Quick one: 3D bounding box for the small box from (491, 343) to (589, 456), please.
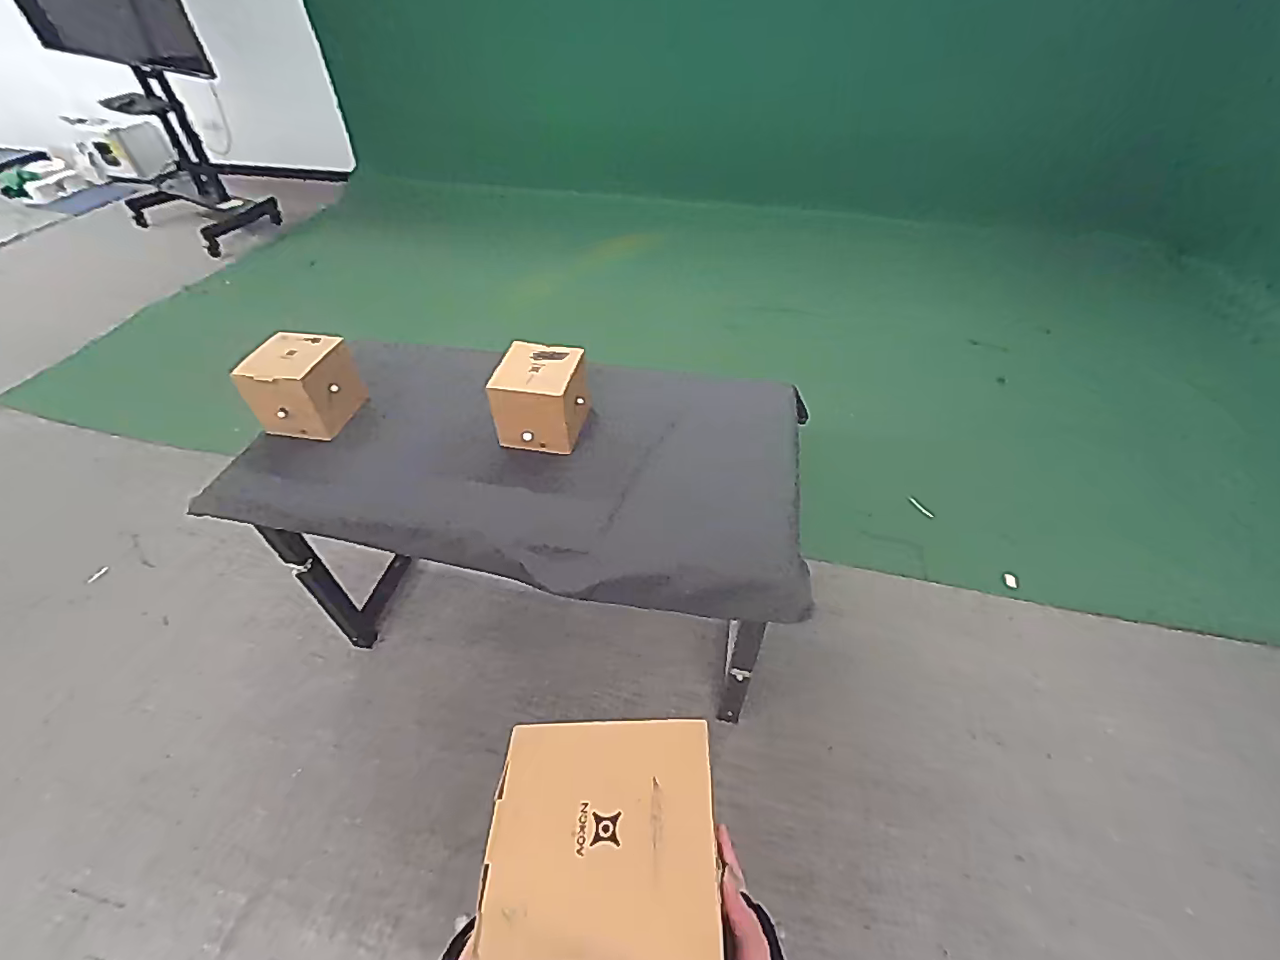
[{"bbox_3d":[-0.214,-0.180,1.217,0.168,0.176,0.179,9,48,8],"label":"small box"}]

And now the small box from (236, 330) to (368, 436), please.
[{"bbox_3d":[-0.764,-0.222,1.249,0.168,0.176,0.179,8,47,6],"label":"small box"}]

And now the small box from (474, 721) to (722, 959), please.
[{"bbox_3d":[-0.021,0.332,0.481,0.179,0.176,0.168,-3,44,5],"label":"small box"}]
